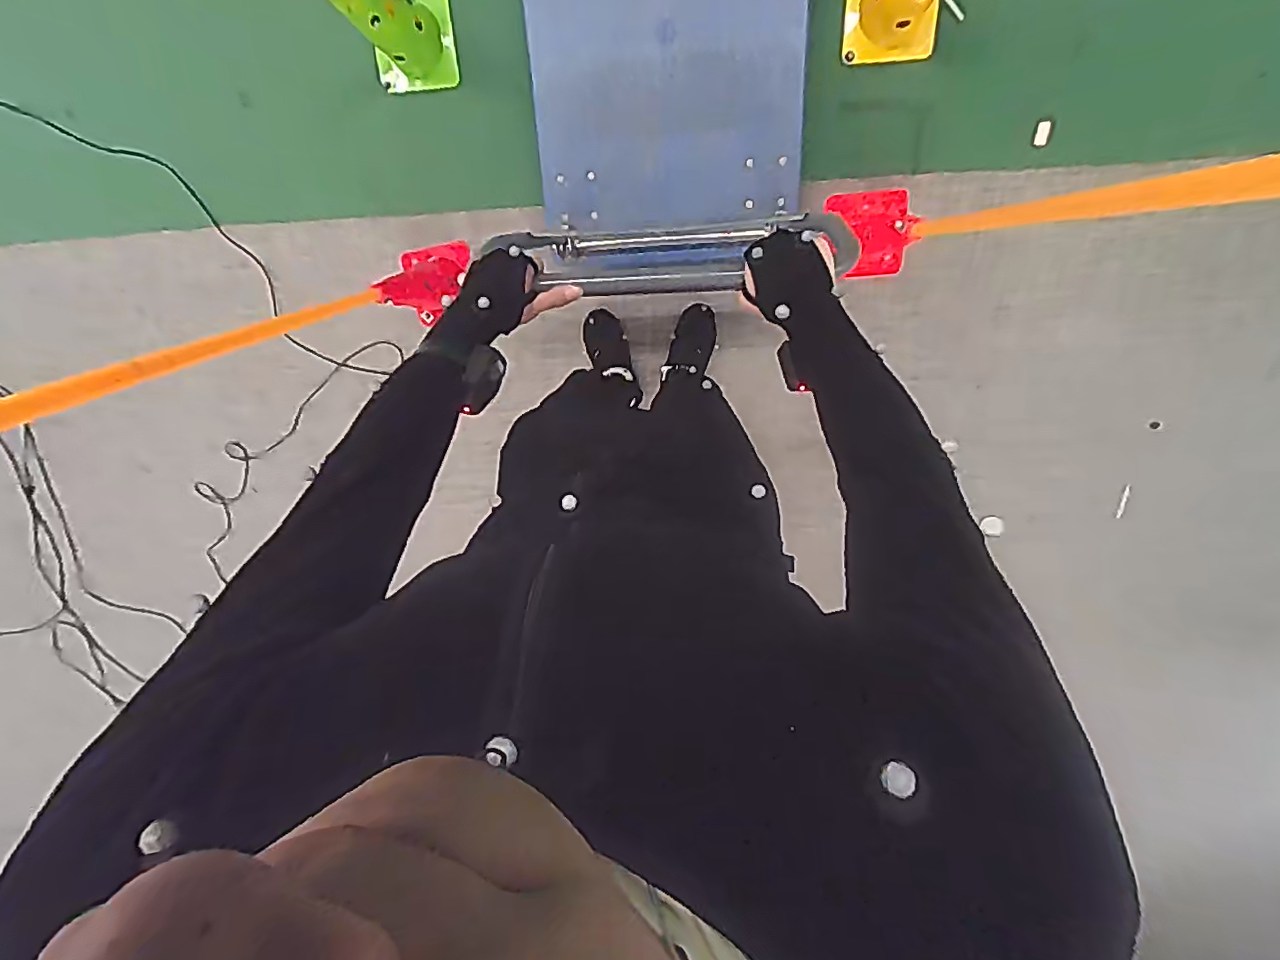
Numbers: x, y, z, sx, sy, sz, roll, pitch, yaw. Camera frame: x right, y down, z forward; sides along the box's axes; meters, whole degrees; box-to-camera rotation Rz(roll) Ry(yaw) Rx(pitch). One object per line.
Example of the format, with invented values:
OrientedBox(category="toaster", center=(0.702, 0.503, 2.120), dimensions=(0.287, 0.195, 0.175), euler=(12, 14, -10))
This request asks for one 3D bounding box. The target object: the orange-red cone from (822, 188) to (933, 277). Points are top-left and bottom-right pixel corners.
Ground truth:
OrientedBox(category="orange-red cone", center=(0.545, -0.549, 1.182), dimensions=(0.198, 0.360, 0.199), euler=(-1, 111, 5))

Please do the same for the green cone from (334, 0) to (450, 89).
OrientedBox(category="green cone", center=(-0.564, -0.973, 1.099), dimensions=(0.200, 0.368, 0.202), euler=(-1, 112, 6))
